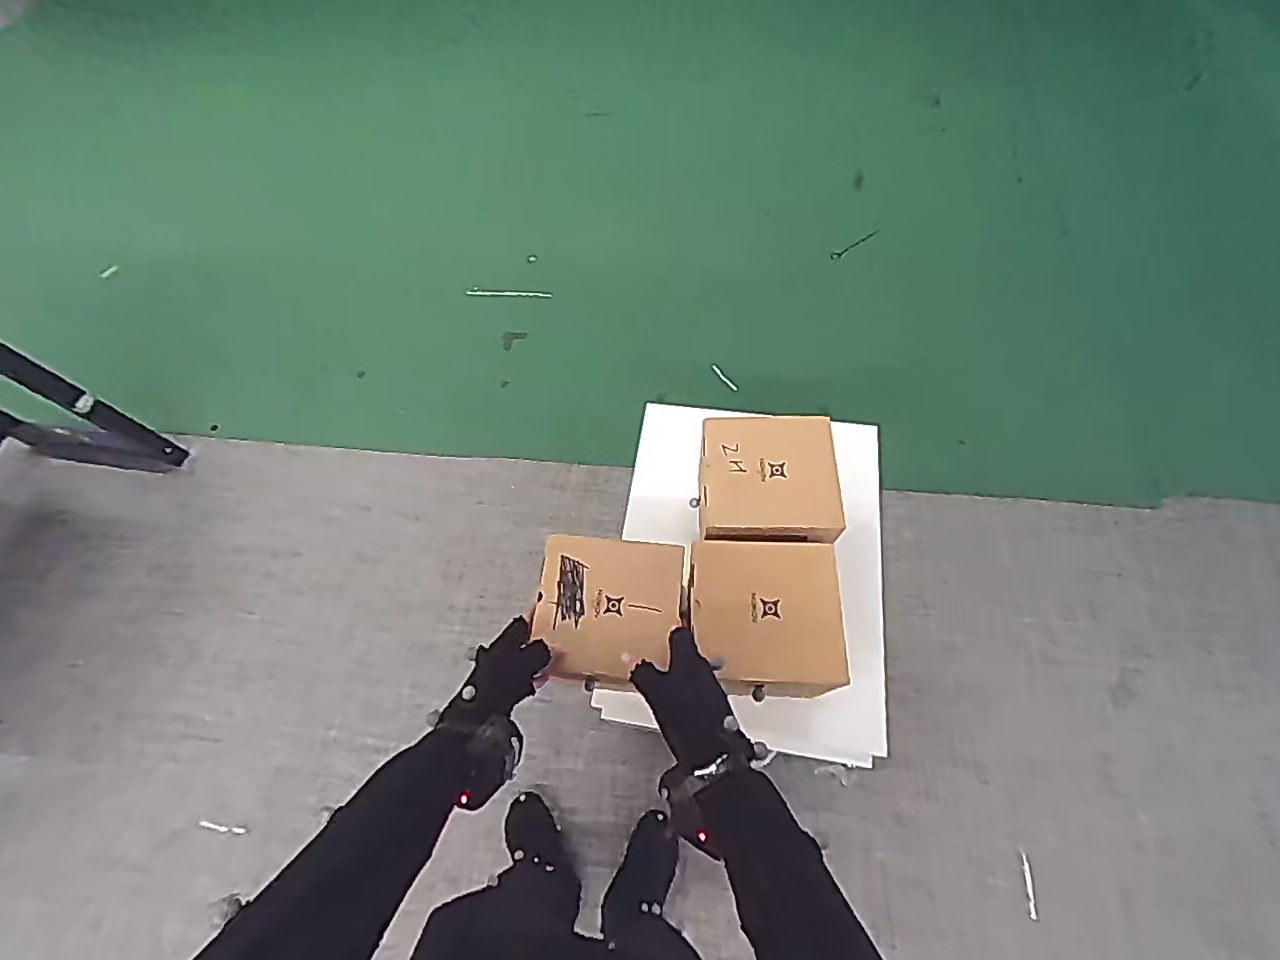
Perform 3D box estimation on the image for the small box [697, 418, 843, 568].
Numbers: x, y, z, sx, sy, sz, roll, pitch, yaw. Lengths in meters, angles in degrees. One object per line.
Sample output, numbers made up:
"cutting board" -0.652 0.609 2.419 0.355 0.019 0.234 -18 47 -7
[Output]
"small box" 0.174 0.024 0.781 0.179 0.176 0.168 0 63 4
